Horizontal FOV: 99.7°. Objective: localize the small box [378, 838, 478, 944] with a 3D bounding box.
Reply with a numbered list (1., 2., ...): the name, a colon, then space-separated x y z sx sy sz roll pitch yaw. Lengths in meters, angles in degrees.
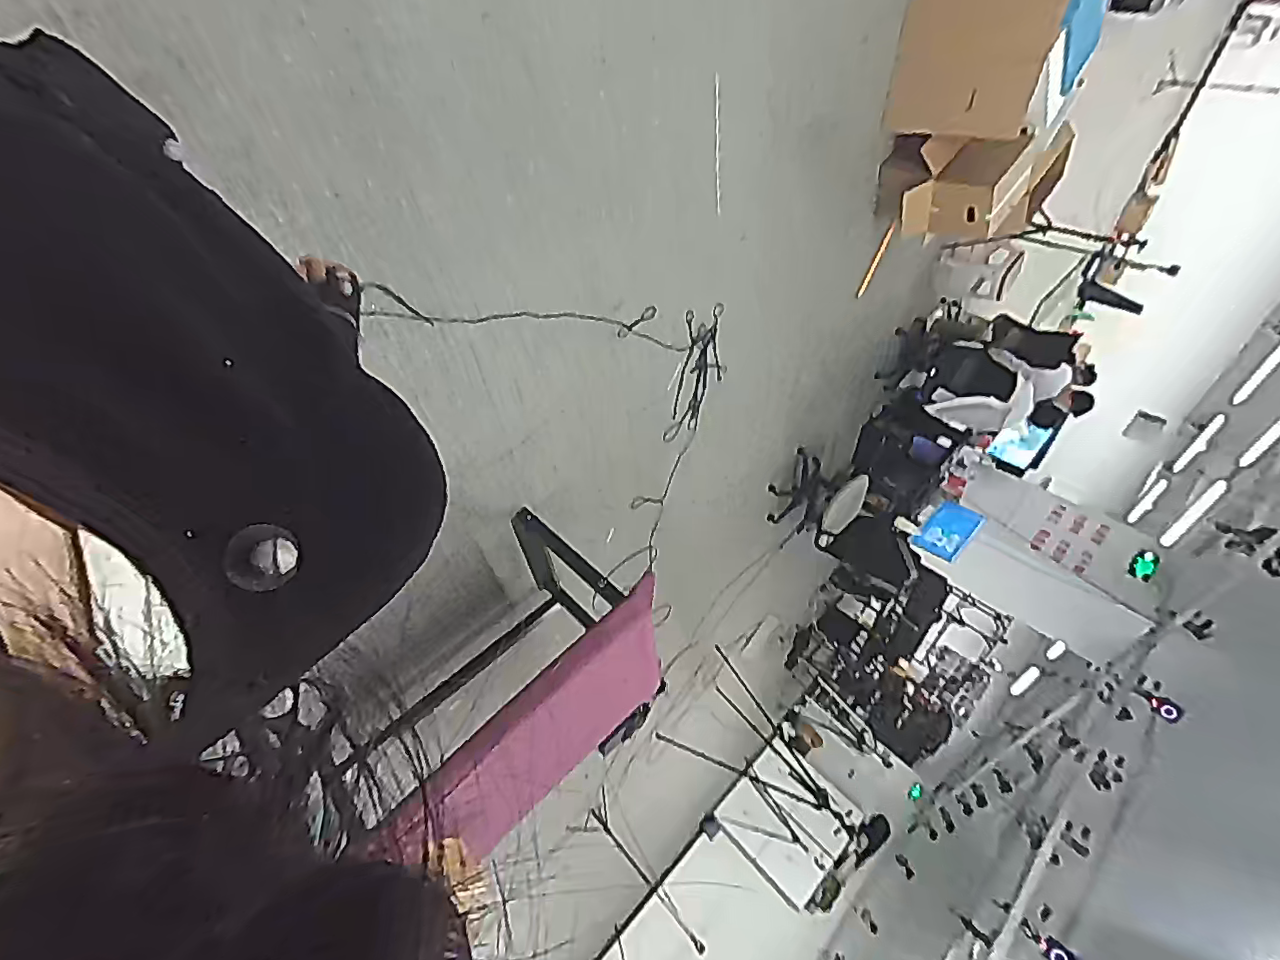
1. small box: -0.616 1.174 1.566 0.179 0.176 0.168 -49 148 -10
